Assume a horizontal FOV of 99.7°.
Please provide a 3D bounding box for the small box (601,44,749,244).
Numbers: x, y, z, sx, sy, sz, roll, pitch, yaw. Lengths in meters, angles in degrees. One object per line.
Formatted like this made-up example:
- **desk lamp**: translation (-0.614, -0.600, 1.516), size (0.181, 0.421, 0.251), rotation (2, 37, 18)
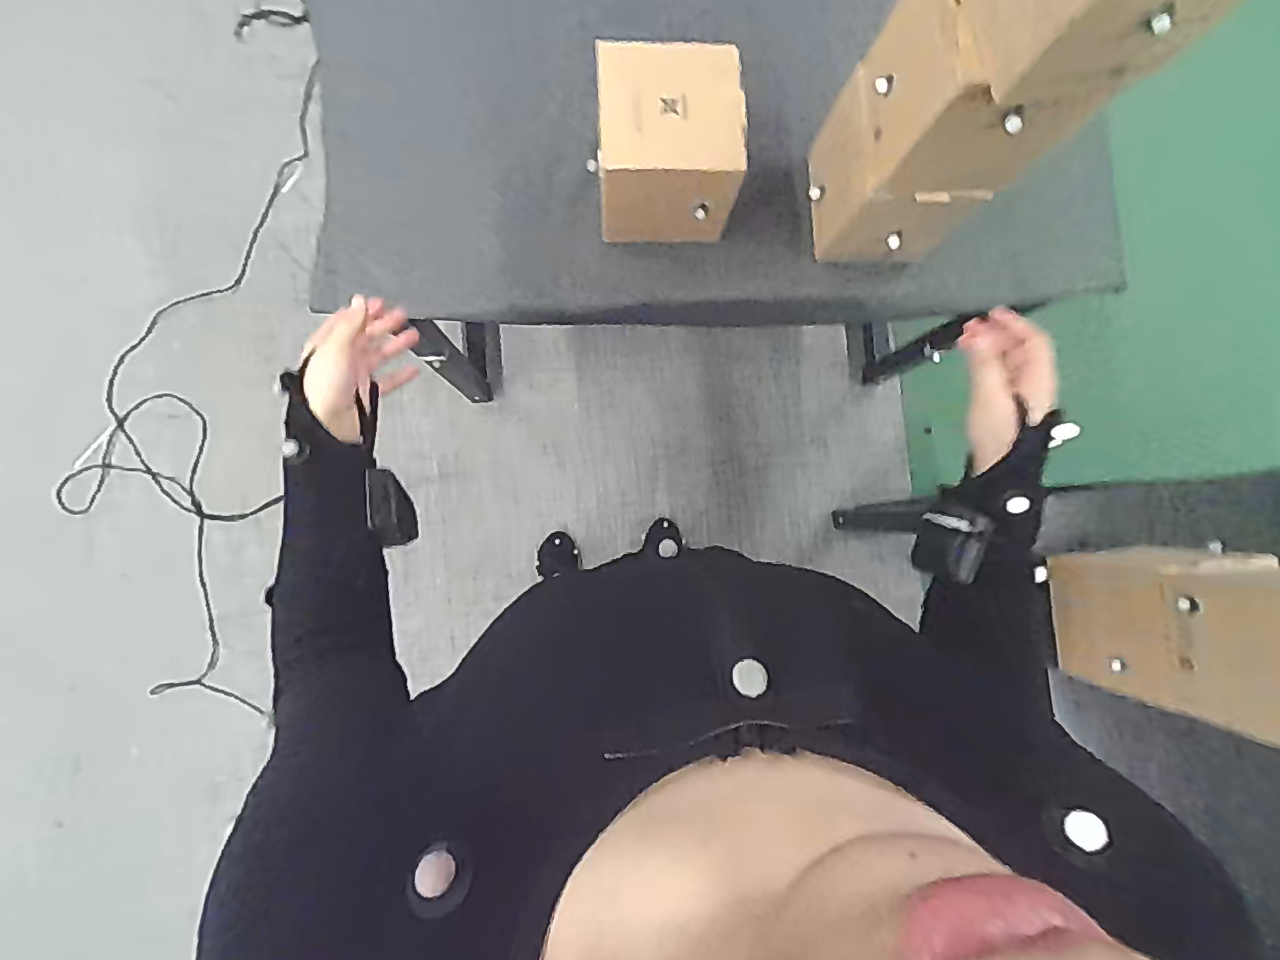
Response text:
- **small box**: translation (0.037, -0.438, 0.729), size (0.179, 0.176, 0.168), rotation (-3, 85, -3)

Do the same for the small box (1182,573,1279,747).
- **small box**: translation (0.725, 0.191, 0.566), size (0.179, 0.176, 0.168), rotation (-2, 88, -4)

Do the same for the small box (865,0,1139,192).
- **small box**: translation (0.371, -0.437, 0.584), size (0.179, 0.176, 0.168), rotation (-4, 85, -3)

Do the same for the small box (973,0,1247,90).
- **small box**: translation (0.389, -0.443, 0.419), size (0.168, 0.176, 0.179), rotation (-12, 86, -4)
